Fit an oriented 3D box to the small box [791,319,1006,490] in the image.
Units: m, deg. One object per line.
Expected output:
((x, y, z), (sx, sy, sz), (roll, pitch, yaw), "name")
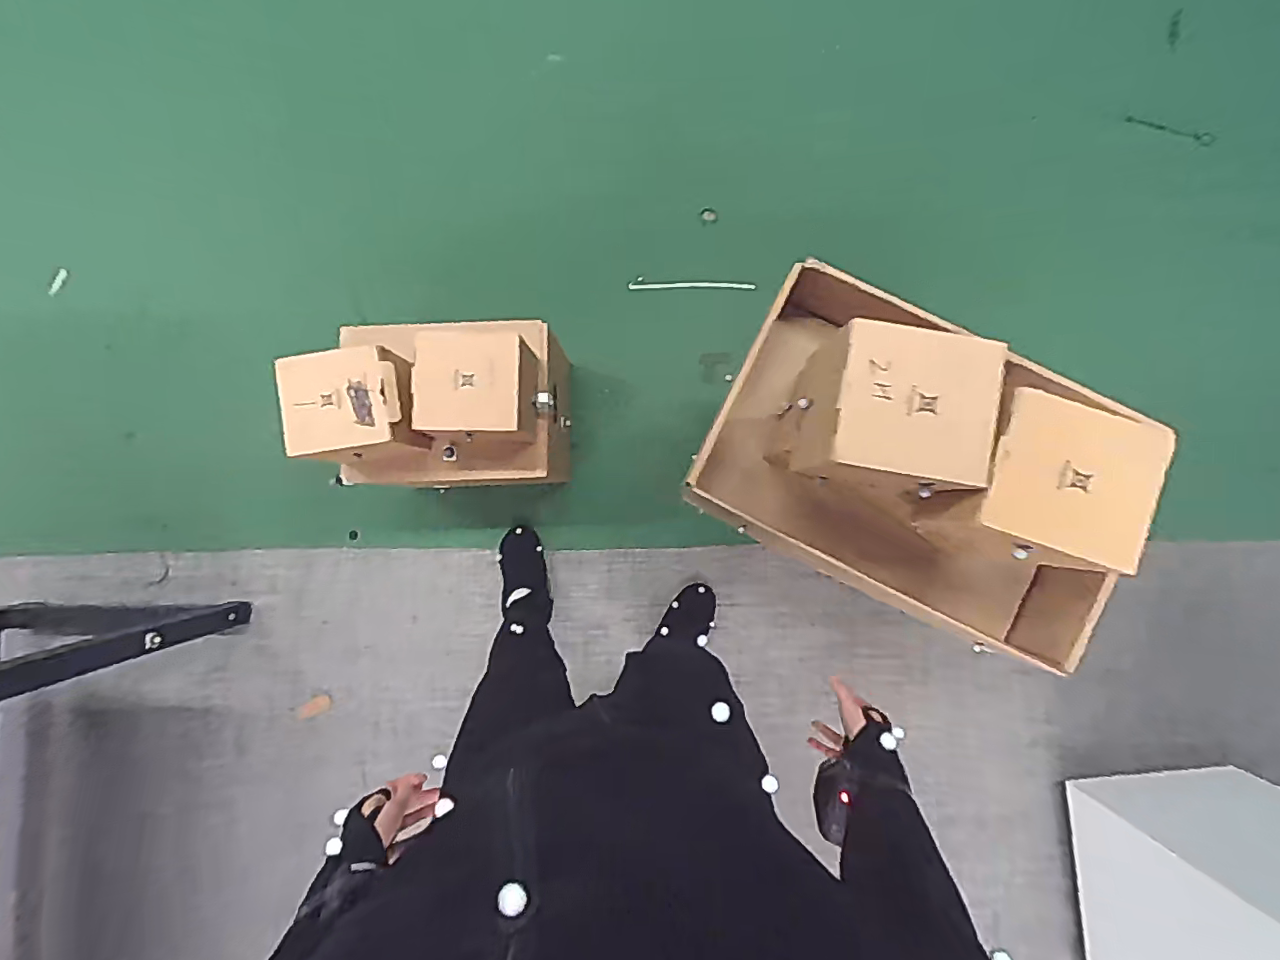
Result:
((0.308, -0.081, 0.678), (0.179, 0.176, 0.168), (10, 86, 1), "small box")
